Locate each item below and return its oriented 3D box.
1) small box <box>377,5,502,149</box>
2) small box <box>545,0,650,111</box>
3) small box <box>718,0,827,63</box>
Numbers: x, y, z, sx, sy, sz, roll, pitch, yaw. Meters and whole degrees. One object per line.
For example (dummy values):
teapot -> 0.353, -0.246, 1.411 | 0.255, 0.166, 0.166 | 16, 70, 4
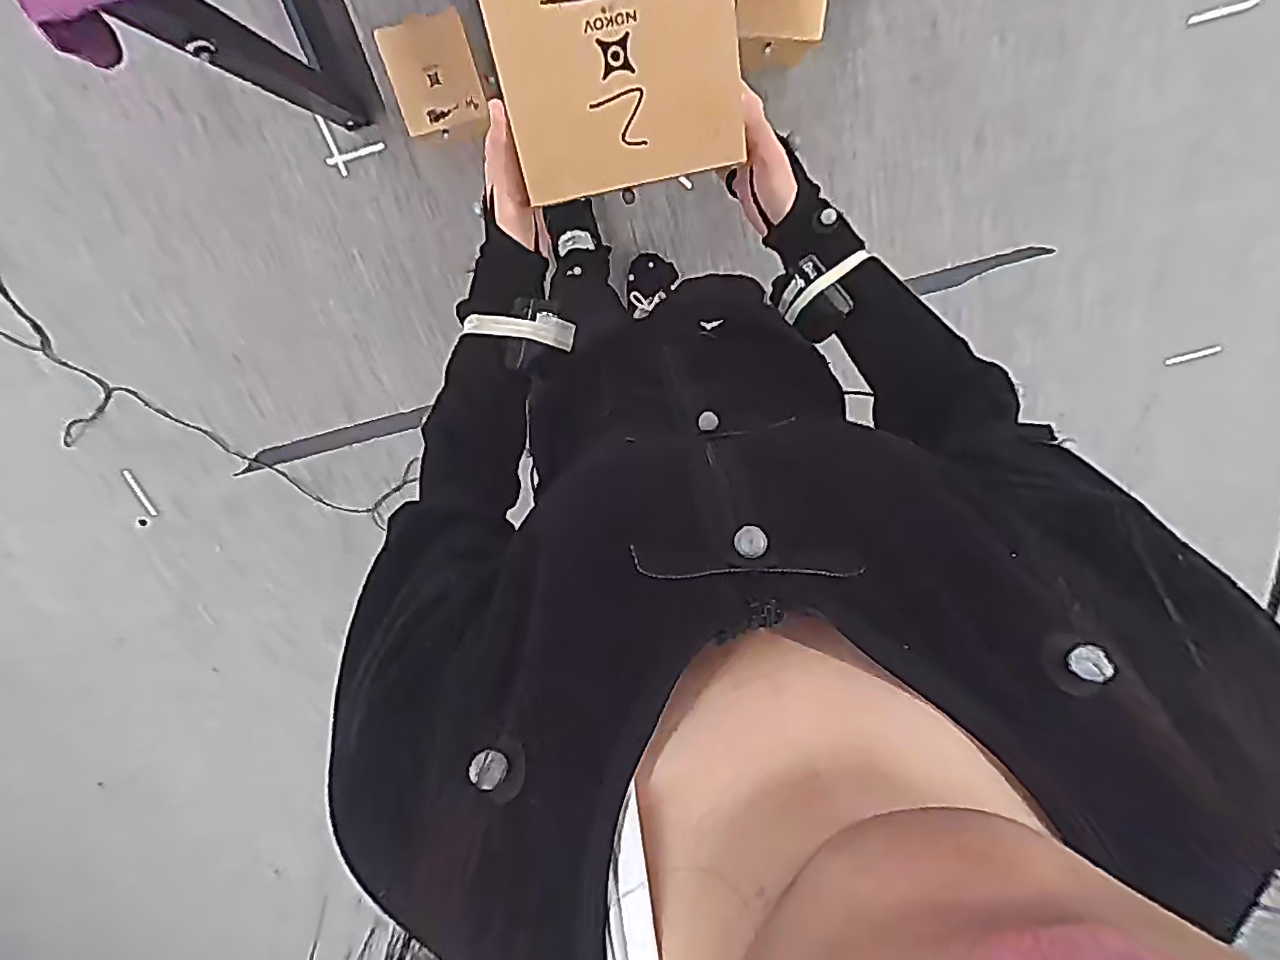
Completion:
small box -> -0.393, -0.800, 1.093 | 0.168, 0.176, 0.179 | -13, 112, 2
small box -> -0.085, -0.876, 1.081 | 0.168, 0.176, 0.179 | -16, 114, 3
small box -> 0.262, -0.955, 1.073 | 0.179, 0.176, 0.168 | 1, 113, -3
